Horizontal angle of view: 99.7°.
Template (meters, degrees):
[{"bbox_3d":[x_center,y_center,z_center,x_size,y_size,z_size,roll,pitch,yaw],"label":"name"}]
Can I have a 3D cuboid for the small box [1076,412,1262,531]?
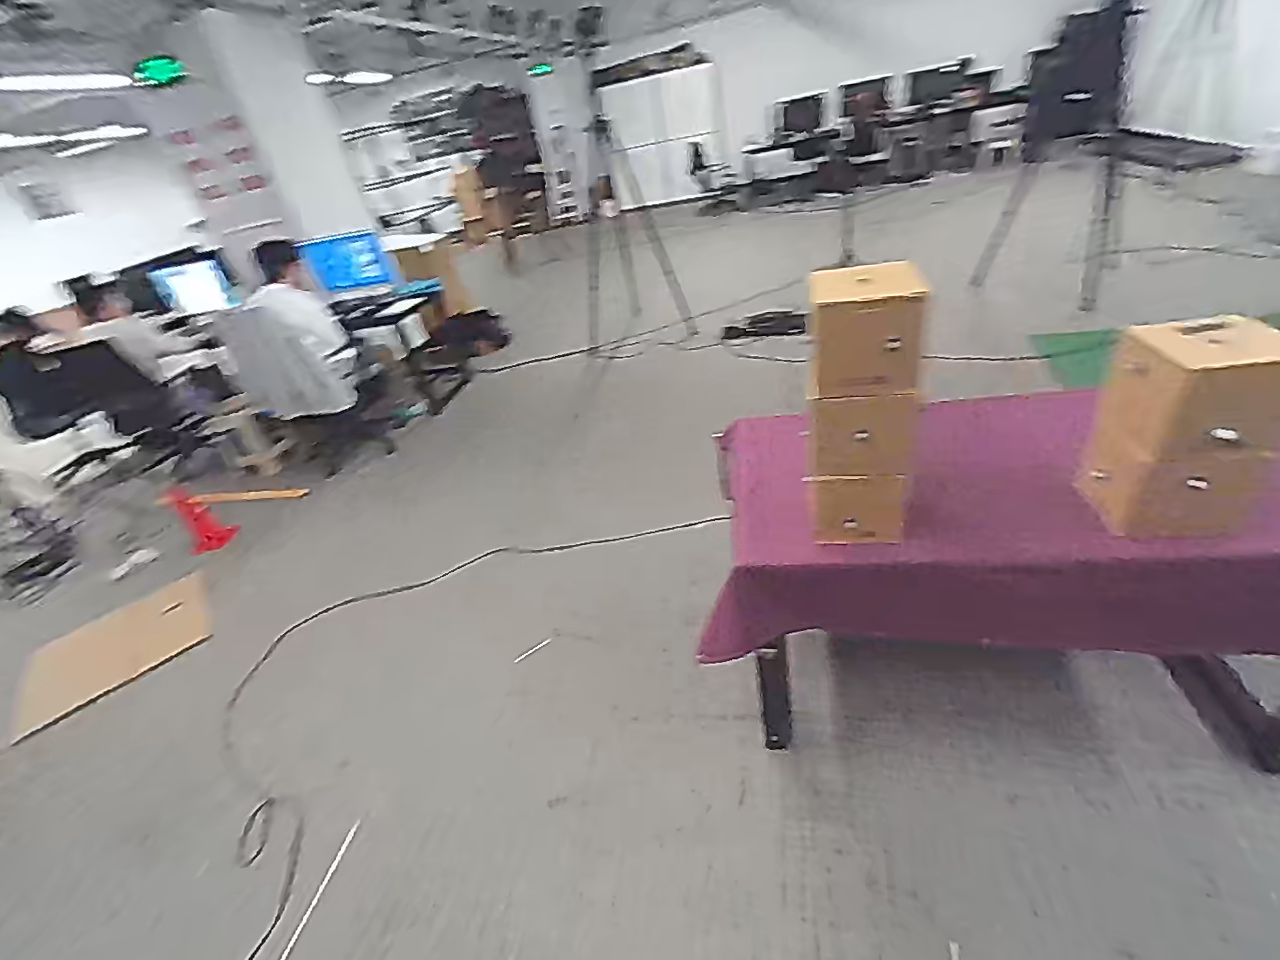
[{"bbox_3d":[0.929,-0.019,0.978,0.179,0.176,0.168,-3,35,15],"label":"small box"}]

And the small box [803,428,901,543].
[{"bbox_3d":[0.426,0.011,1.114,0.168,0.176,0.179,-3,35,15],"label":"small box"}]

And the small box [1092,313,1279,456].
[{"bbox_3d":[0.898,-0.157,0.894,0.168,0.176,0.179,-5,35,13],"label":"small box"}]

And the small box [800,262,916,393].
[{"bbox_3d":[0.368,-0.258,0.935,0.168,0.176,0.179,-2,35,15],"label":"small box"}]
